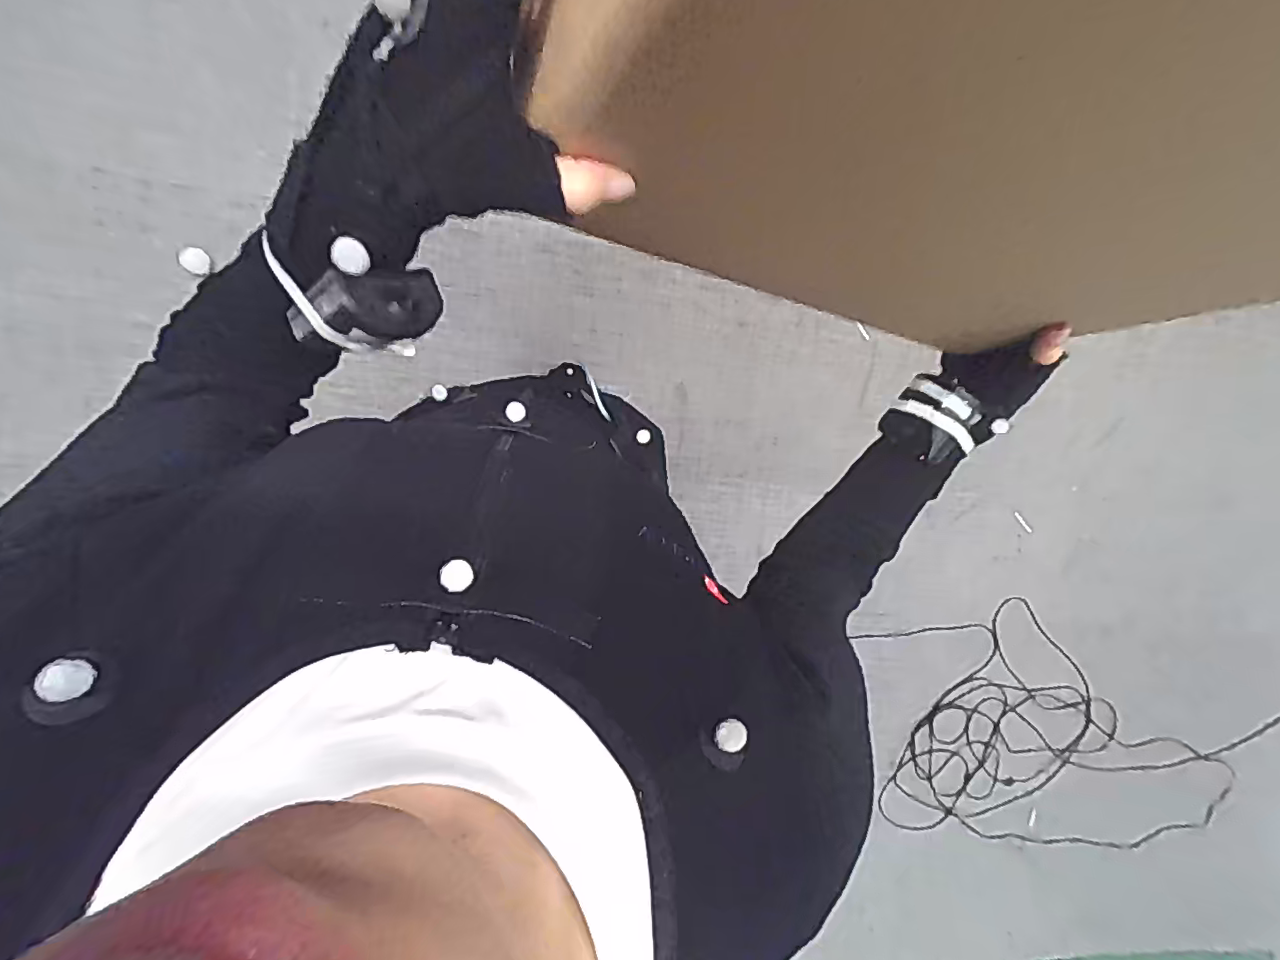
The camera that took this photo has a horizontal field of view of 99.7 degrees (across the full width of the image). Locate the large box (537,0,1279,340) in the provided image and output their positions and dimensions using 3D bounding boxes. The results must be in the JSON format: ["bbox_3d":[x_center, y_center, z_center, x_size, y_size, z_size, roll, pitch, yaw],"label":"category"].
[{"bbox_3d":[0.197,-0.277,0.240,0.408,0.320,0.320,4,90,-31],"label":"large box"}]
